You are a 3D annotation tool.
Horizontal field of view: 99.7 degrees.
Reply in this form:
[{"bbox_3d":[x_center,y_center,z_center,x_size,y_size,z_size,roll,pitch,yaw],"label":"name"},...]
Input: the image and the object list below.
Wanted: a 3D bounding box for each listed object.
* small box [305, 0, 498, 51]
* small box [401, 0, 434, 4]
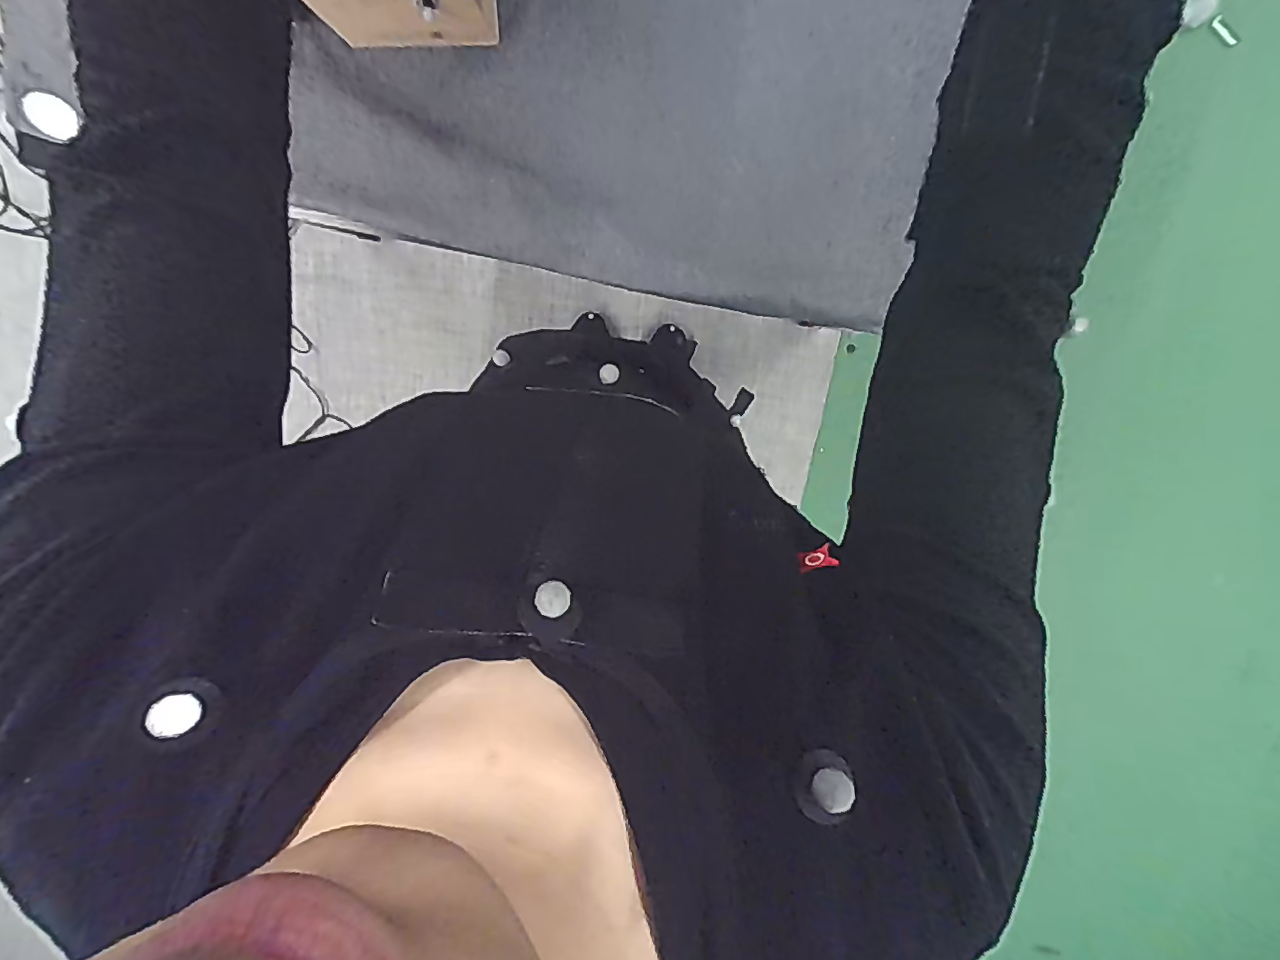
[{"bbox_3d":[-0.235,-0.531,0.498,0.168,0.176,0.179,-1,106,-1],"label":"small box"},{"bbox_3d":[-0.236,-0.458,0.352,0.168,0.176,0.179,1,106,-2],"label":"small box"}]
